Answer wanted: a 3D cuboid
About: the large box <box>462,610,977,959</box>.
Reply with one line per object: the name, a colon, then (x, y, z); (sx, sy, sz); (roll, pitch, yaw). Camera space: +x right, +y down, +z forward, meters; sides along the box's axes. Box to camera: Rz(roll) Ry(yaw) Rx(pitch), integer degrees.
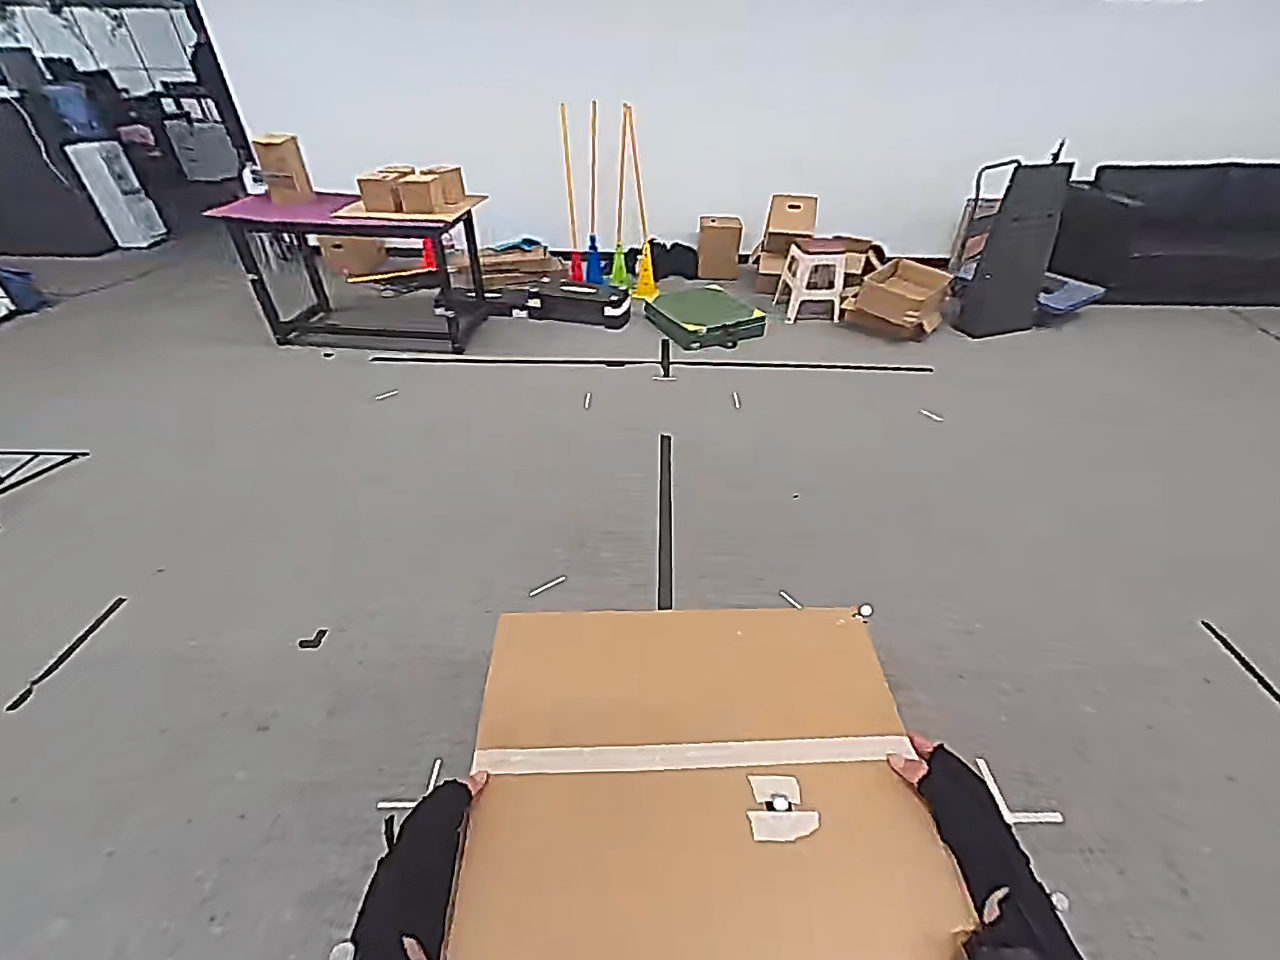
large box: (0.052, 0.367, 0.612); (0.408, 0.320, 0.320); (0, 44, -2)
